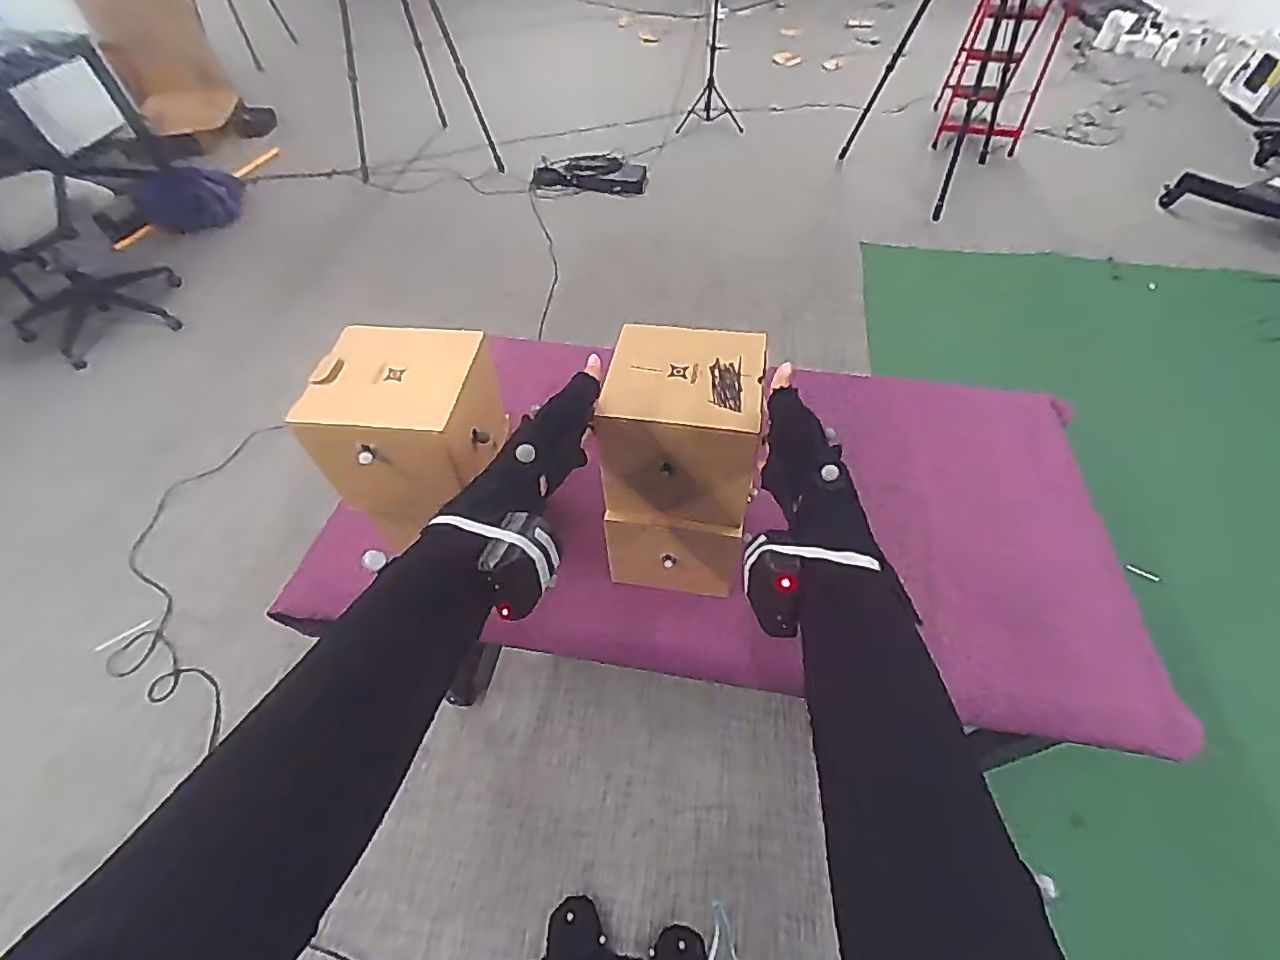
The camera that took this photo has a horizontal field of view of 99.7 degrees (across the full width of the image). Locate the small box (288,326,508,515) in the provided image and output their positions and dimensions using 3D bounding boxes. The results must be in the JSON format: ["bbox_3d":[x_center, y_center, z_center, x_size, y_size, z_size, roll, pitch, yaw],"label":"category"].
[{"bbox_3d":[-0.277,-0.069,0.675,0.179,0.176,0.168,3,53,4],"label":"small box"}]

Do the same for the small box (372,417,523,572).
[{"bbox_3d":[-0.281,0.017,0.816,0.168,0.176,0.179,4,53,3],"label":"small box"}]

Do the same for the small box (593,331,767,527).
[{"bbox_3d":[0.052,-0.059,0.669,0.179,0.176,0.168,8,52,8],"label":"small box"}]
